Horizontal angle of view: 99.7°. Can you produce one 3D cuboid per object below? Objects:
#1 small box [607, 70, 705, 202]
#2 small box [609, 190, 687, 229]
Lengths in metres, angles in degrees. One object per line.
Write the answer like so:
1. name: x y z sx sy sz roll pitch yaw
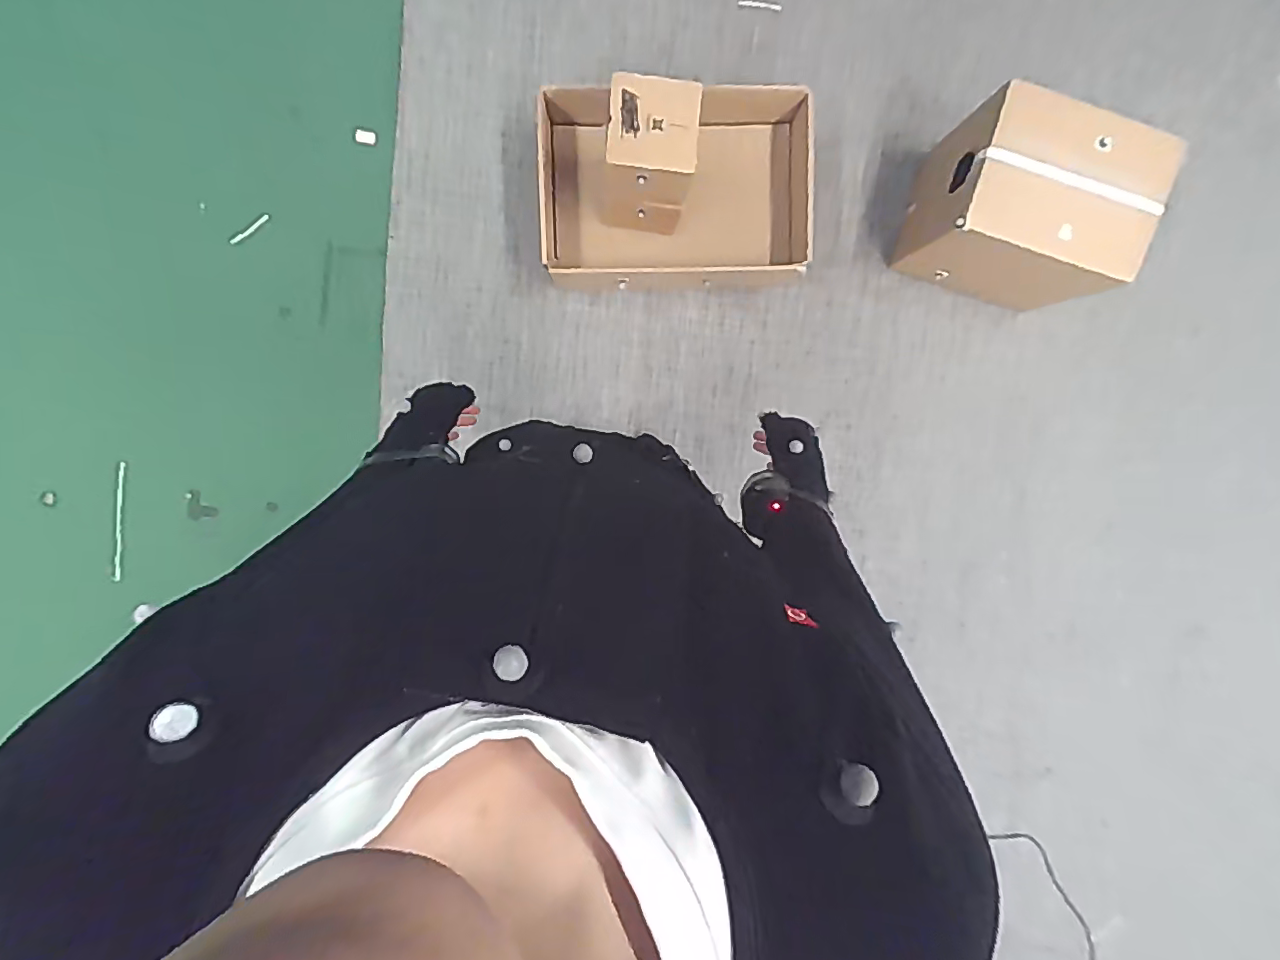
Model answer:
1. small box: 0.026 -0.691 1.105 0.179 0.176 0.168 4 96 -5
2. small box: 0.019 -0.707 1.269 0.179 0.176 0.168 5 96 -5
